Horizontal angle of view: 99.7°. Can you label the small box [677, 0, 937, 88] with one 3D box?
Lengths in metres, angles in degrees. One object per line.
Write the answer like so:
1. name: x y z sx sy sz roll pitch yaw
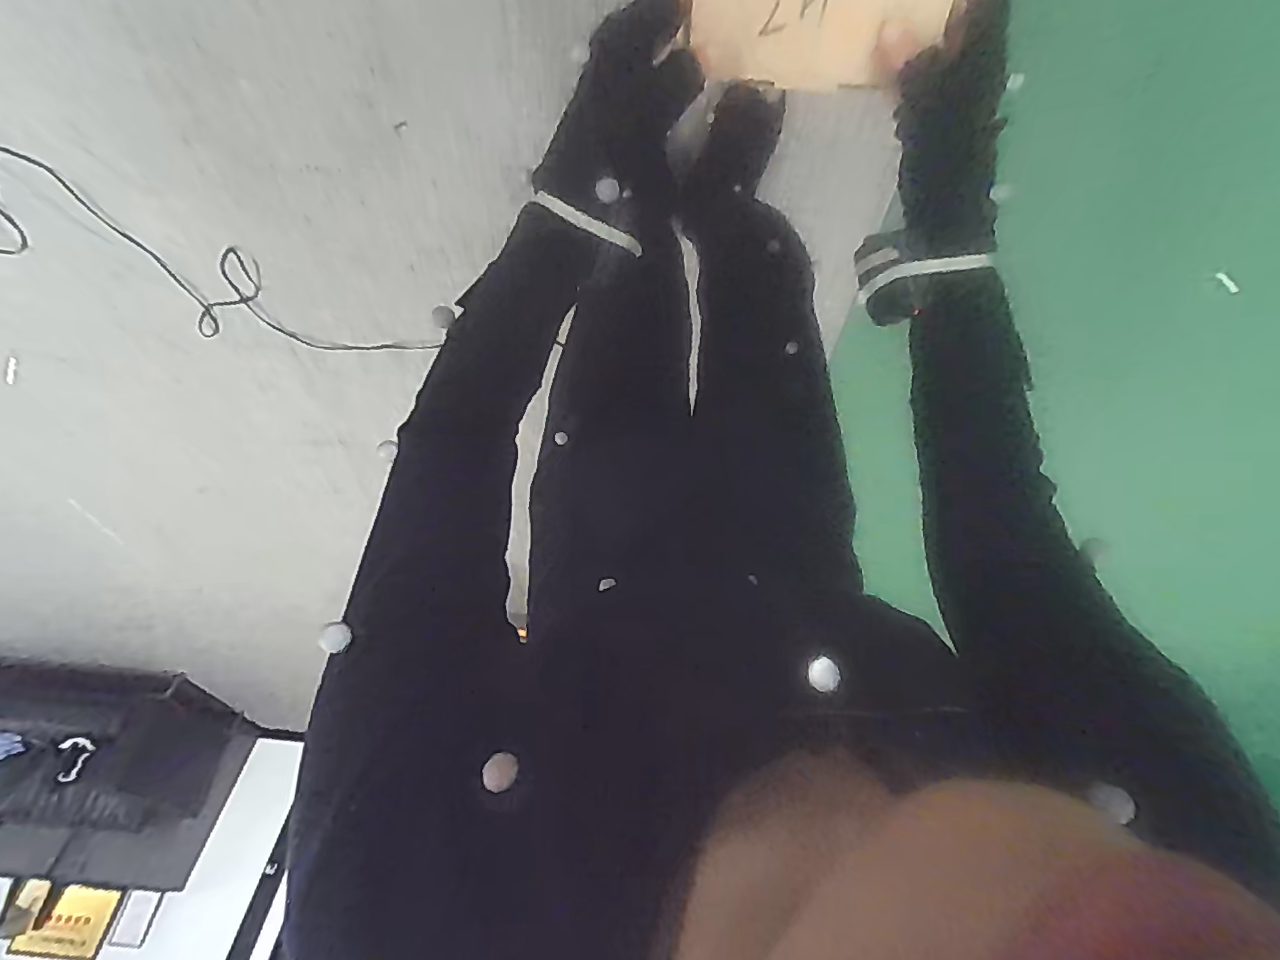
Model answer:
1. small box: 0.116 -0.400 0.393 0.168 0.176 0.179 2 129 0
